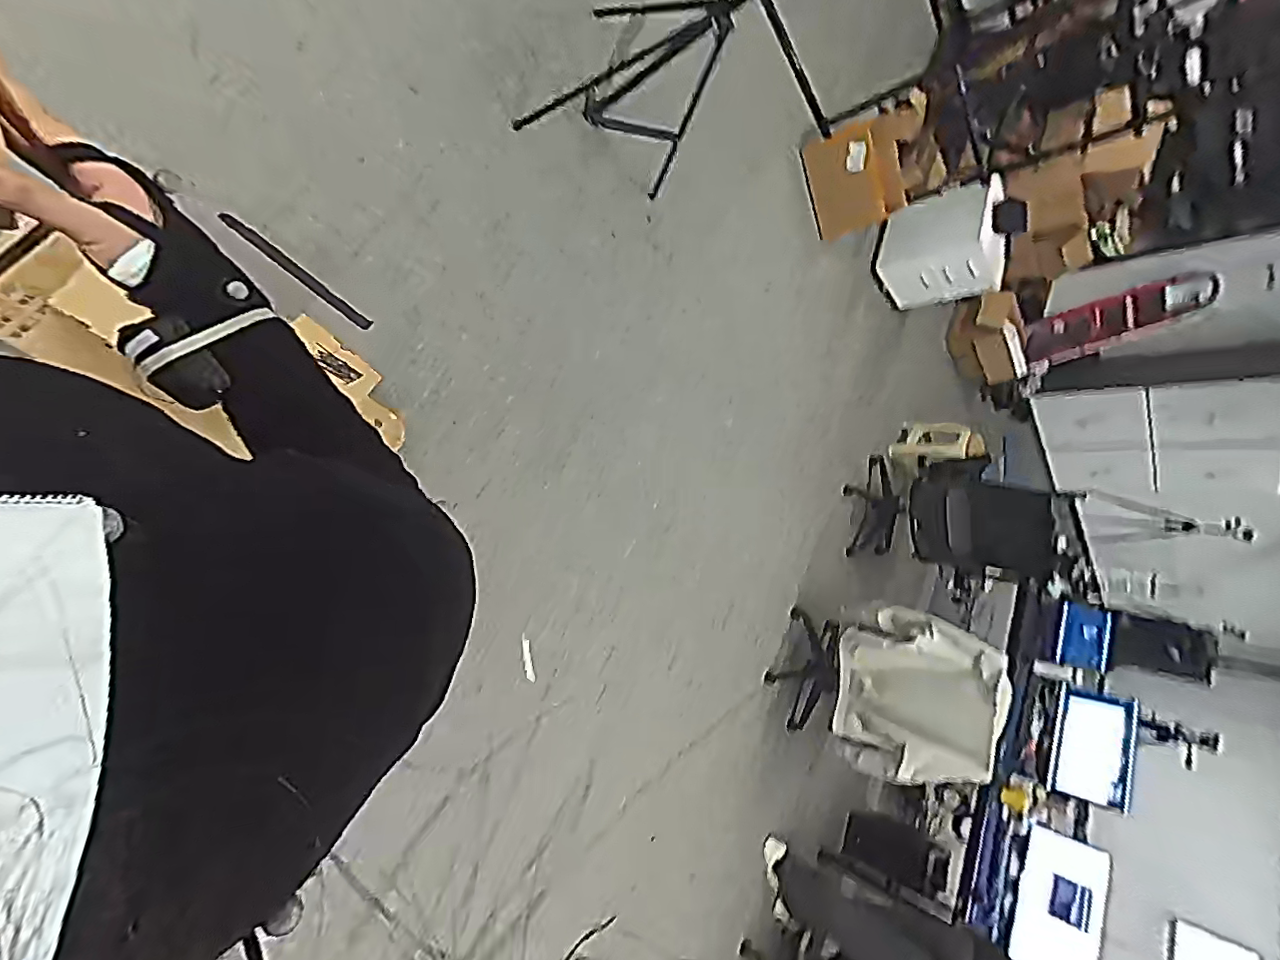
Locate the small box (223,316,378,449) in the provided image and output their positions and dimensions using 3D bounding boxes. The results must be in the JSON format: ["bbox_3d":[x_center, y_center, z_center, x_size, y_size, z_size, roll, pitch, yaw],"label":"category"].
[{"bbox_3d":[-0.637,-0.174,1.010,0.168,0.176,0.179,46,62,-33],"label":"small box"}]

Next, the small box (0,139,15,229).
[{"bbox_3d":[-0.488,-0.248,0.293,0.168,0.176,0.179,-18,111,-46],"label":"small box"}]

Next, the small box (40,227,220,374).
[{"bbox_3d":[-0.907,-0.312,0.978,0.168,0.176,0.179,40,66,-36],"label":"small box"}]

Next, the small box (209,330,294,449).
[{"bbox_3d":[-0.755,-0.181,1.124,0.168,0.176,0.179,42,64,-35],"label":"small box"}]
